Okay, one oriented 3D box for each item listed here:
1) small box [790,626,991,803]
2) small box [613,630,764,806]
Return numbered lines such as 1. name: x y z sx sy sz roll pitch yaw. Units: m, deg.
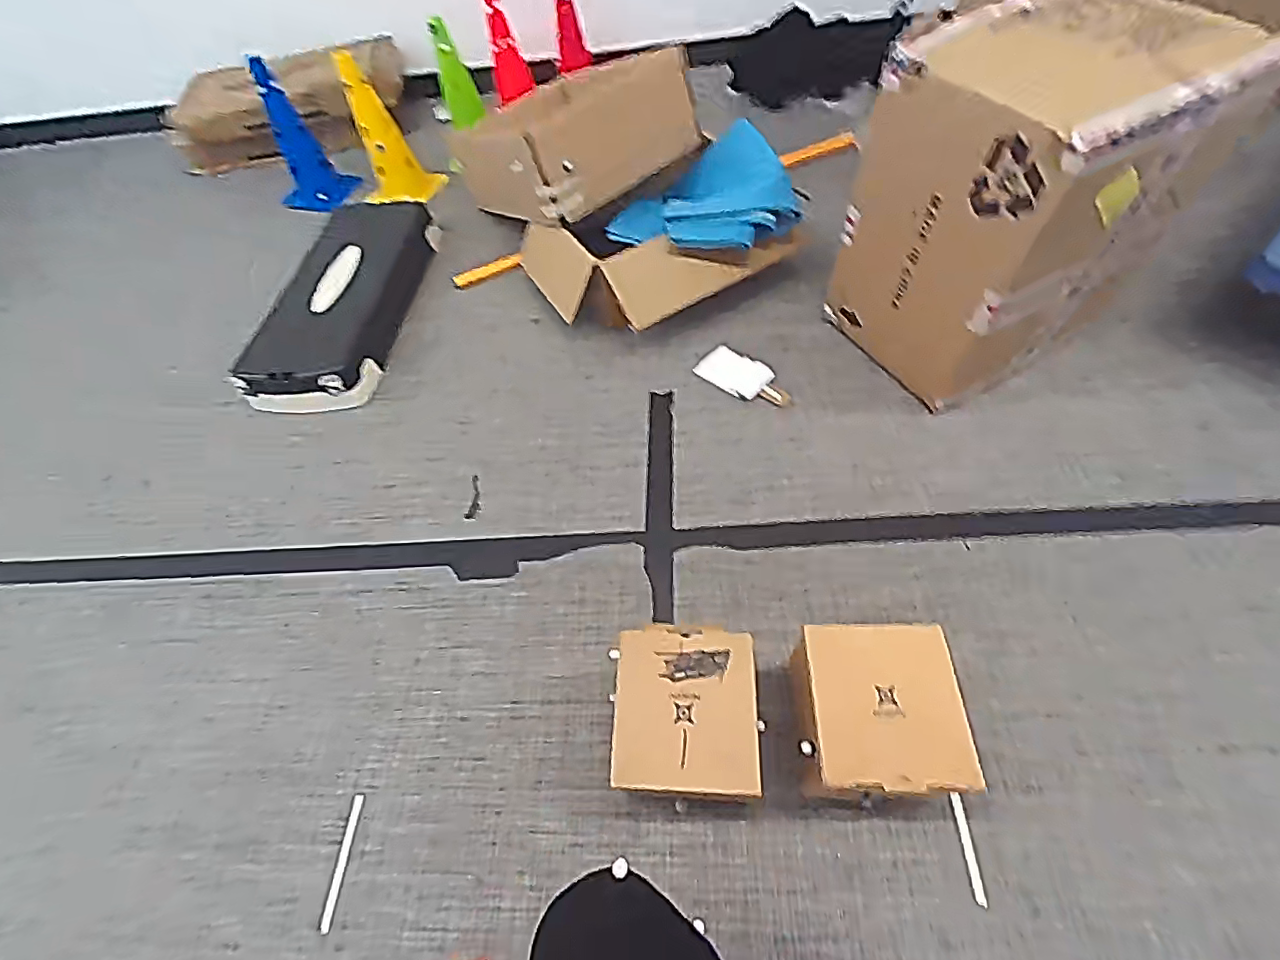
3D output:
1. small box: 0.289 0.293 0.673 0.168 0.176 0.179 -2 57 5
2. small box: 0.063 0.305 0.688 0.168 0.176 0.179 0 58 6
